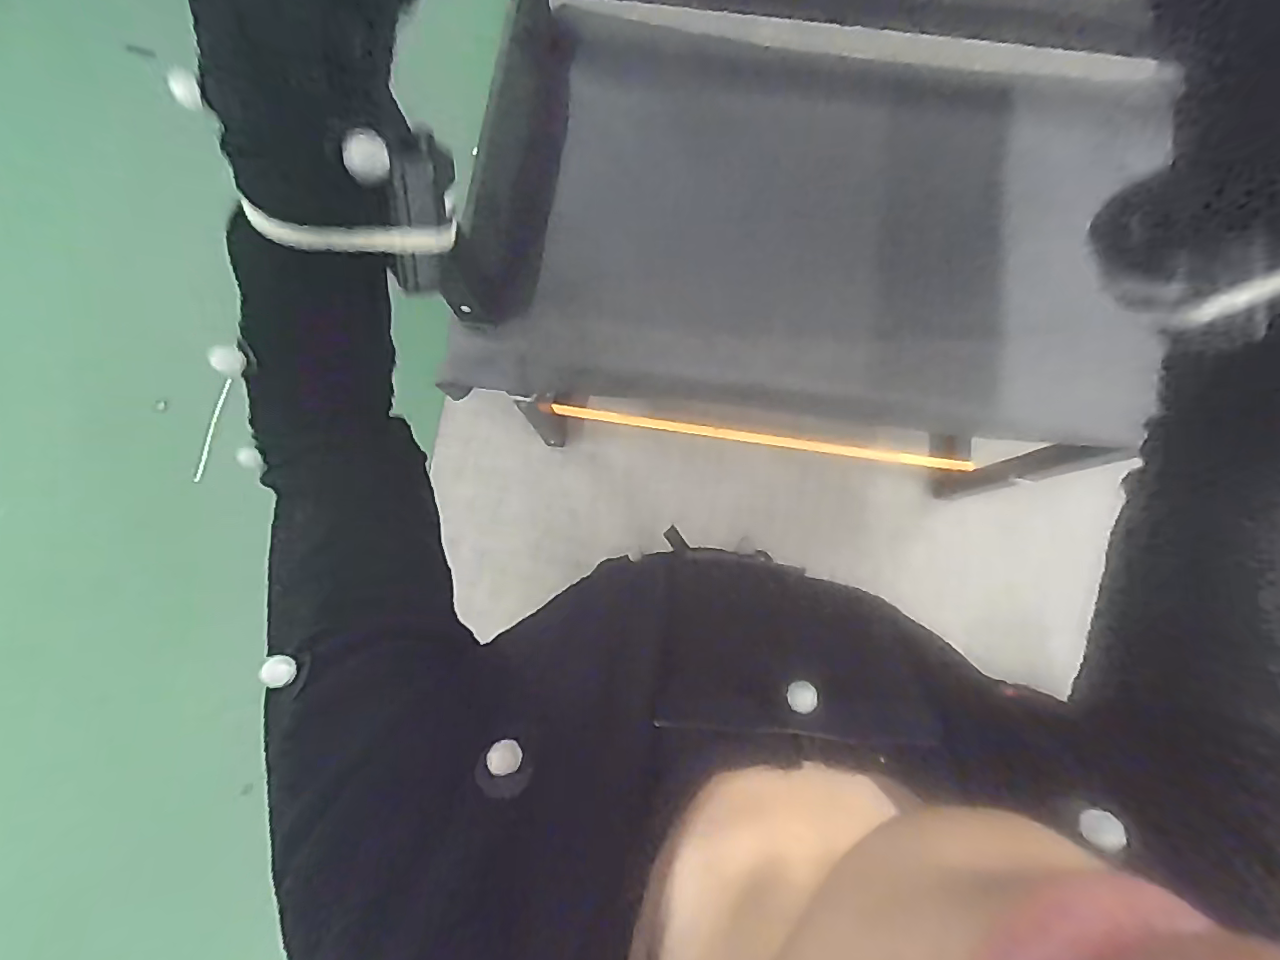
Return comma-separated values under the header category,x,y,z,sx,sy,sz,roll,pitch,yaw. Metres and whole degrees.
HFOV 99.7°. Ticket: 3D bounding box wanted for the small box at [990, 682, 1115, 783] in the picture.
category,x,y,z,sx,sy,sz,roll,pitch,yaw
small box,1.015,0.615,1.340,0.179,0.176,0.168,14,80,3
